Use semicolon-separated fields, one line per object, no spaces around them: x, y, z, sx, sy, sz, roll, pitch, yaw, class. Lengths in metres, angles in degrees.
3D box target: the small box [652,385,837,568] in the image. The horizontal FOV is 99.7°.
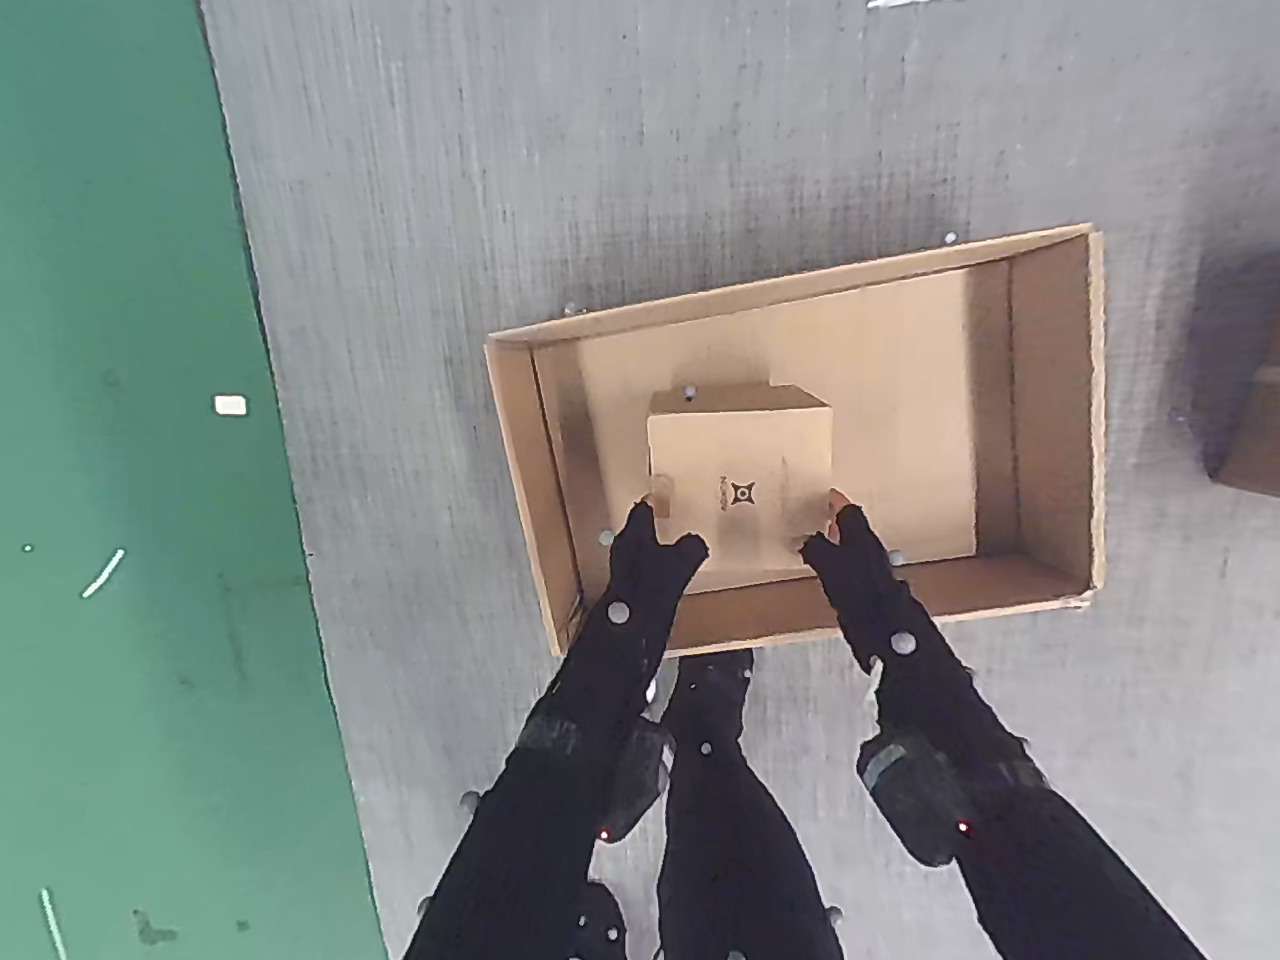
0.108;-0.012;0.609;0.179;0.176;0.168;-3;107;4;small box
